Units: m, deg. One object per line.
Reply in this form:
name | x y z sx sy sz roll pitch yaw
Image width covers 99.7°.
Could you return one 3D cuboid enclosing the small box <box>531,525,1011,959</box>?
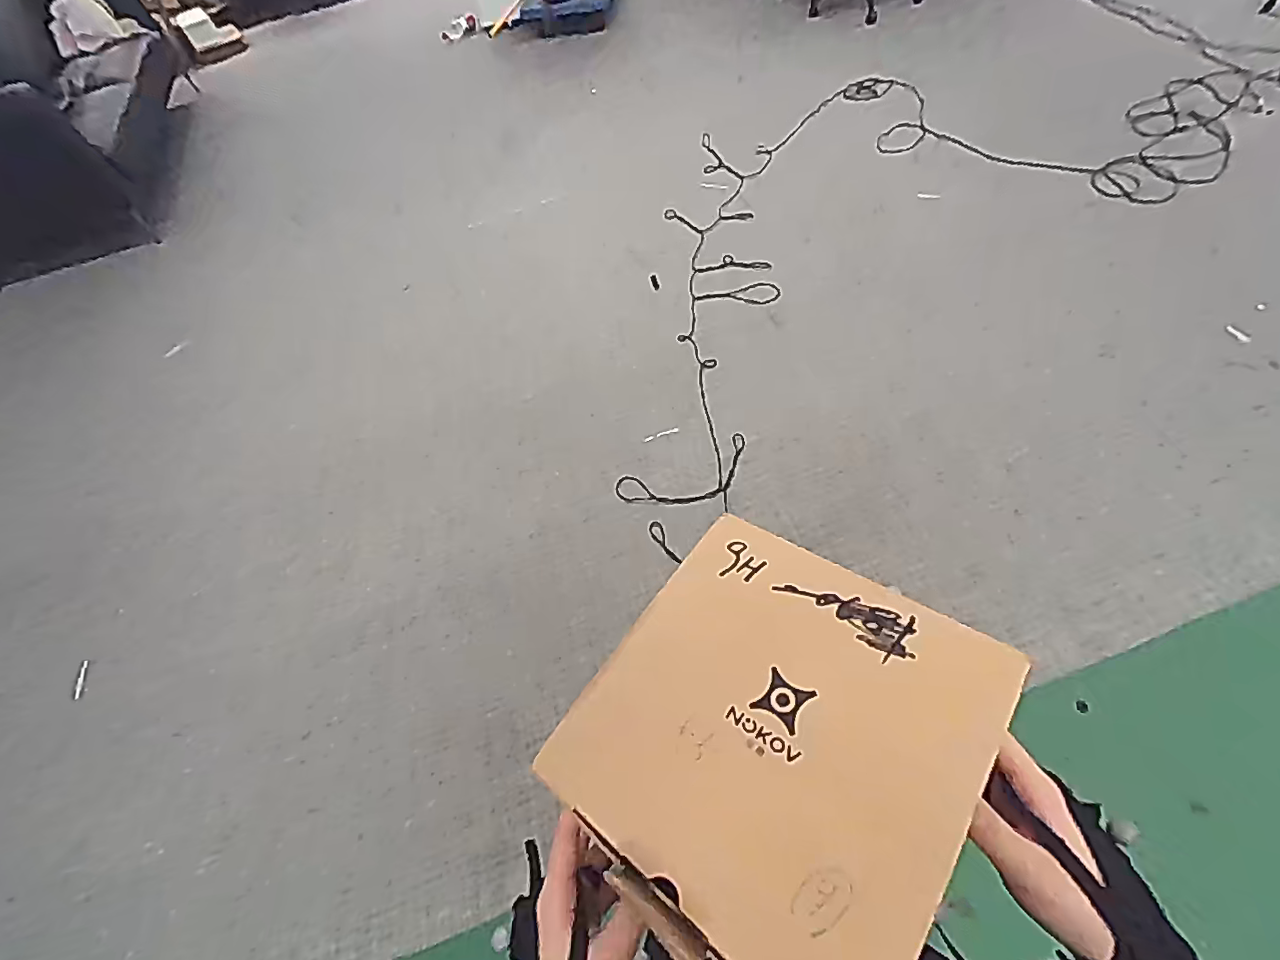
small box | 0.075 0.165 0.316 0.168 0.176 0.179 26 63 32
